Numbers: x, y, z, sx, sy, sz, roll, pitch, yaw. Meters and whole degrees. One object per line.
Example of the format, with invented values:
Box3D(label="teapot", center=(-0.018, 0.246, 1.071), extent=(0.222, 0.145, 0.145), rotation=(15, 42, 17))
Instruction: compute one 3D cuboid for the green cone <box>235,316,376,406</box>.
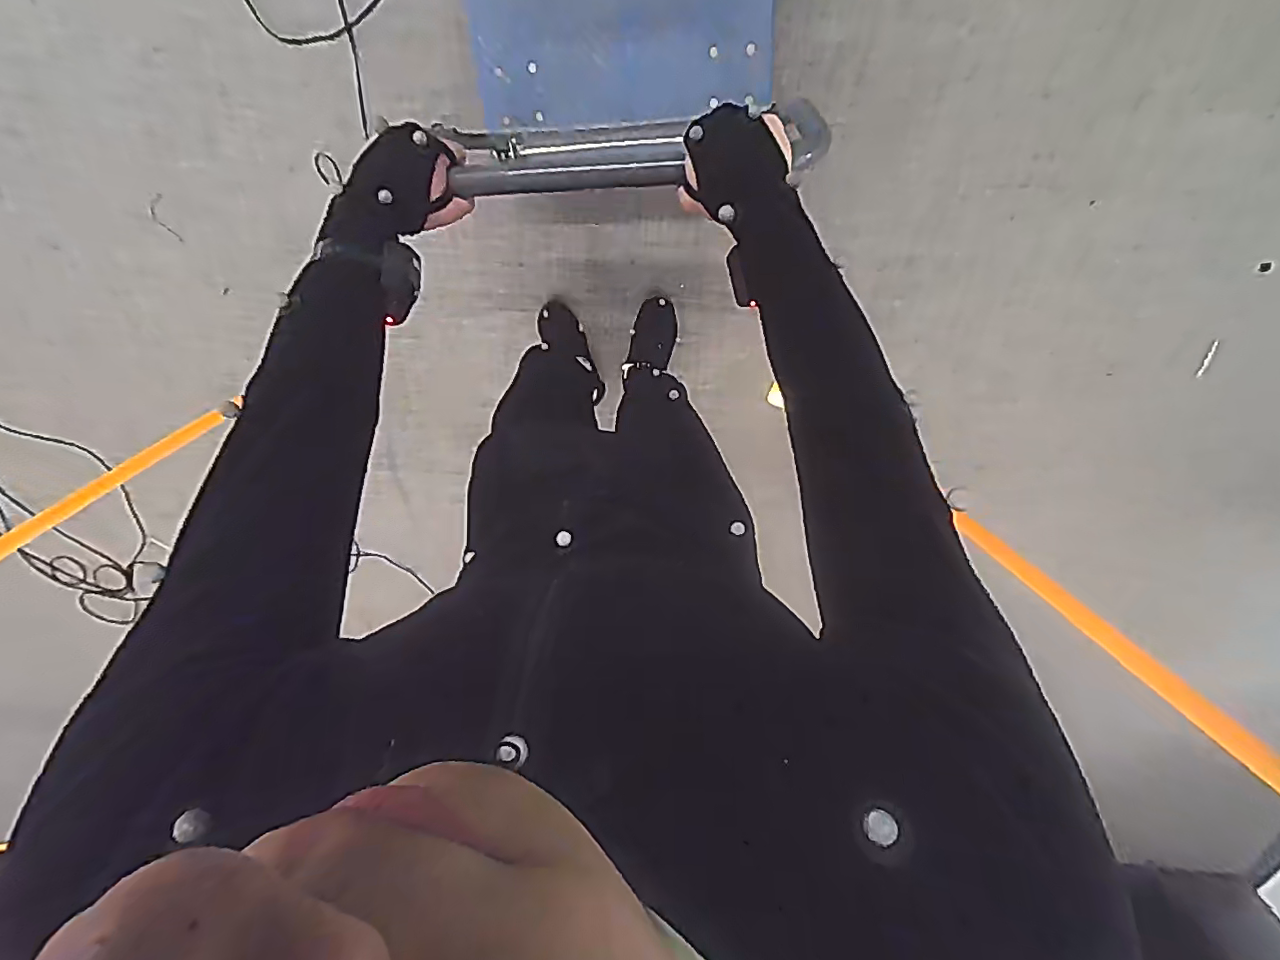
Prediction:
Box3D(label="green cone", center=(-0.861, -0.272, 1.351), extent=(0.202, 0.368, 0.200), rotation=(0, 118, 4))
